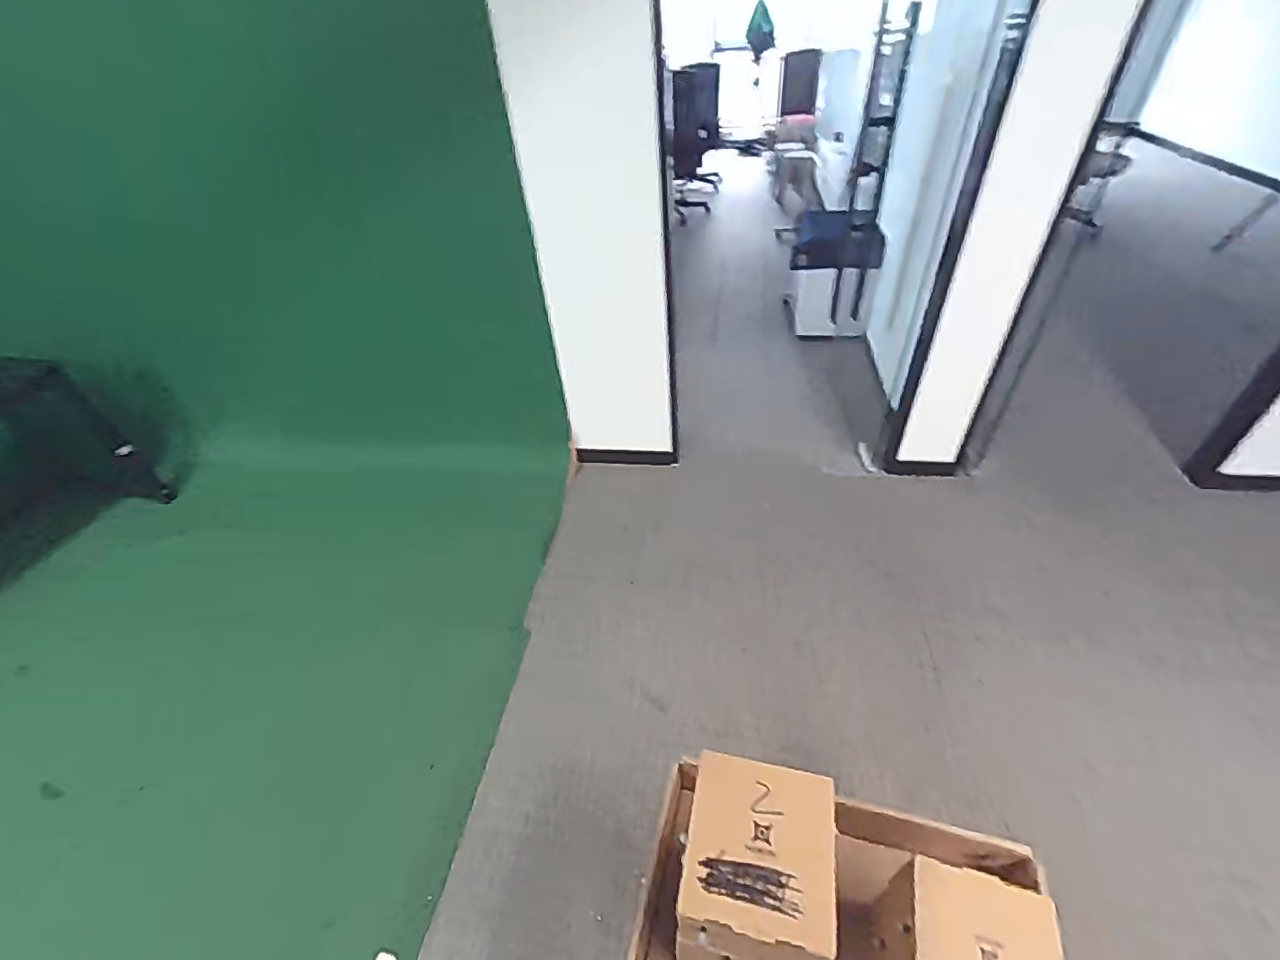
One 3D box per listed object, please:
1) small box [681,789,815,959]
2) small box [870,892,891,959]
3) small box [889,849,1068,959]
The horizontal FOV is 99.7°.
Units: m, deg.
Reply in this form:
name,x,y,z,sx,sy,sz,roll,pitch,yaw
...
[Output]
name,x,y,z,sx,sy,sz,roll,pitch,yaw
small box,0.154,0.587,0.782,0.168,0.176,0.179,6,43,13
small box,0.448,0.752,0.815,0.168,0.176,0.179,10,45,18
small box,0.431,0.630,0.706,0.168,0.176,0.179,10,45,17
